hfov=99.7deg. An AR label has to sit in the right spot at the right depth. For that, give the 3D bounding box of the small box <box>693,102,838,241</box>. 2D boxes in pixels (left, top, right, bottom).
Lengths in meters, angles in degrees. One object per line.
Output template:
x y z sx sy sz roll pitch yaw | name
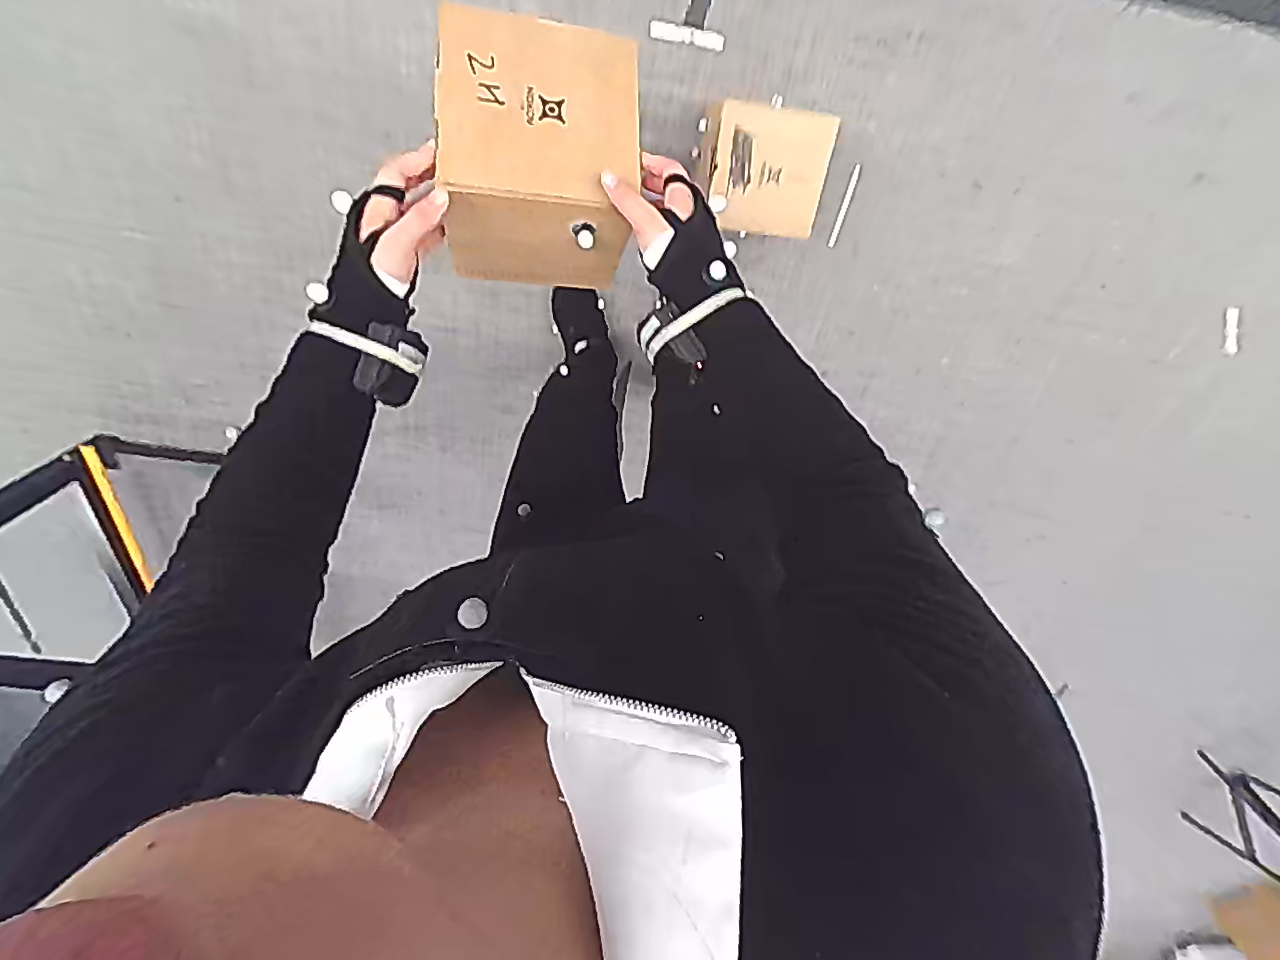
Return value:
0.189 -0.501 0.881 0.179 0.176 0.168 5 123 -5 | small box
